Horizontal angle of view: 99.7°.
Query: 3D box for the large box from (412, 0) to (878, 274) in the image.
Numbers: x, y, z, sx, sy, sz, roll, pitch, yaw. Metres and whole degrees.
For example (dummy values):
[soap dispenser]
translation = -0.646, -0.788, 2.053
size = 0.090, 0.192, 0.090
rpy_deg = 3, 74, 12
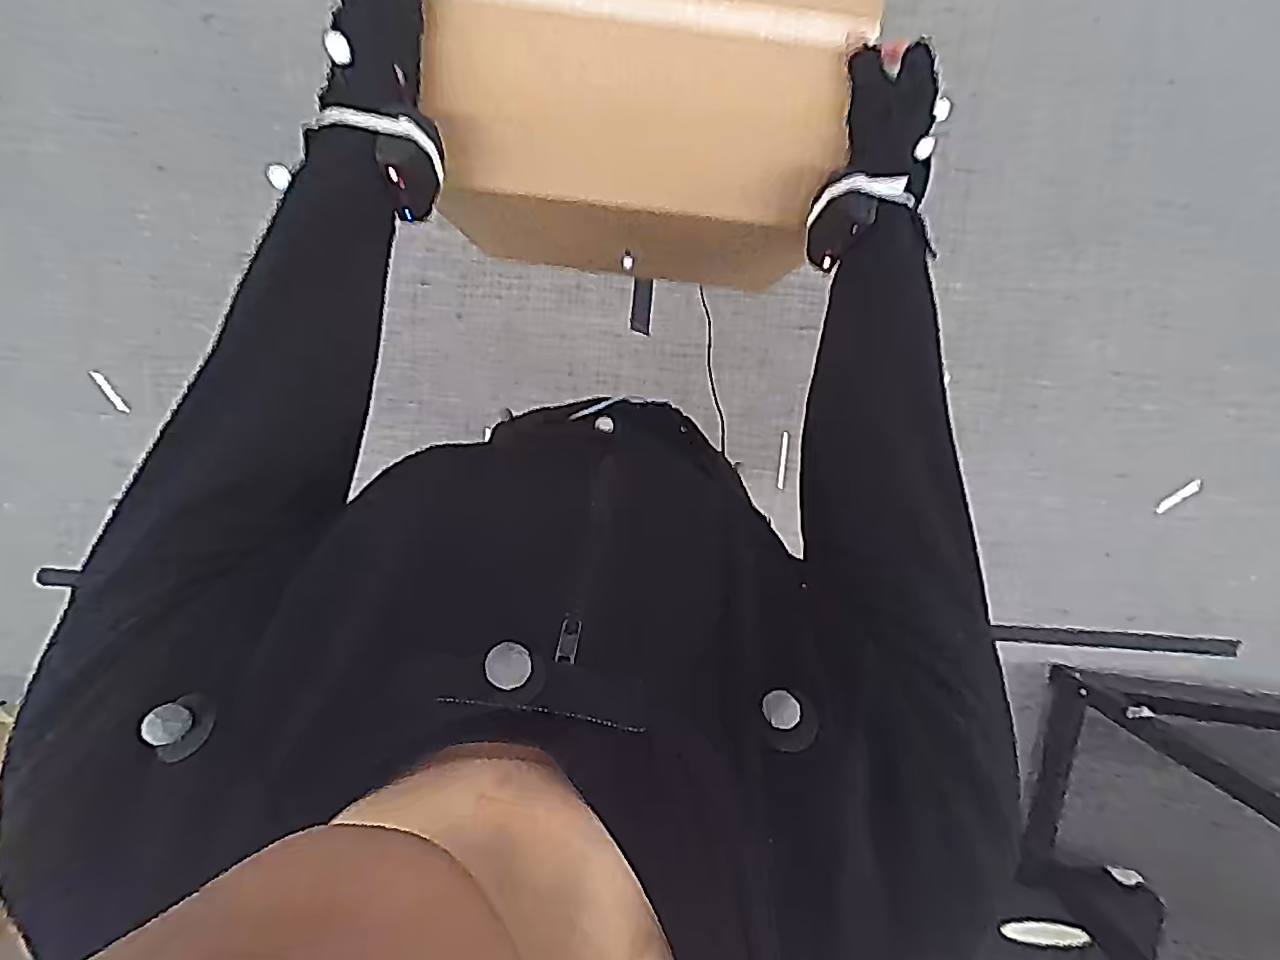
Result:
[large box]
translation = 0.006, -0.436, 0.612
size = 0.408, 0.320, 0.320
rpy_deg = 6, 99, -2
